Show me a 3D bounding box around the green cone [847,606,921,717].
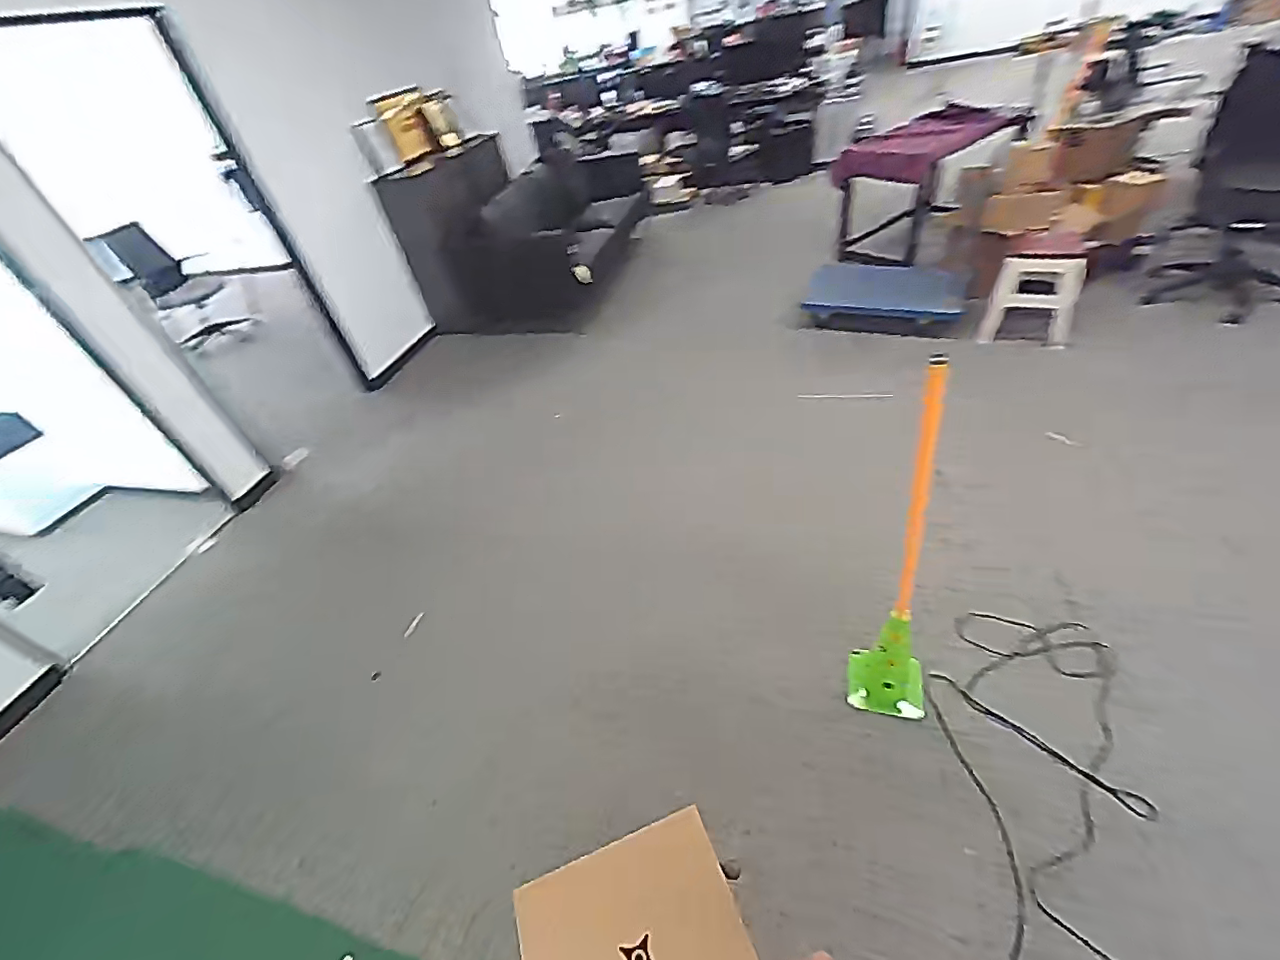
[{"bbox_3d":[0.708,0.477,1.519,0.202,0.368,0.200,5,44,18],"label":"green cone"}]
